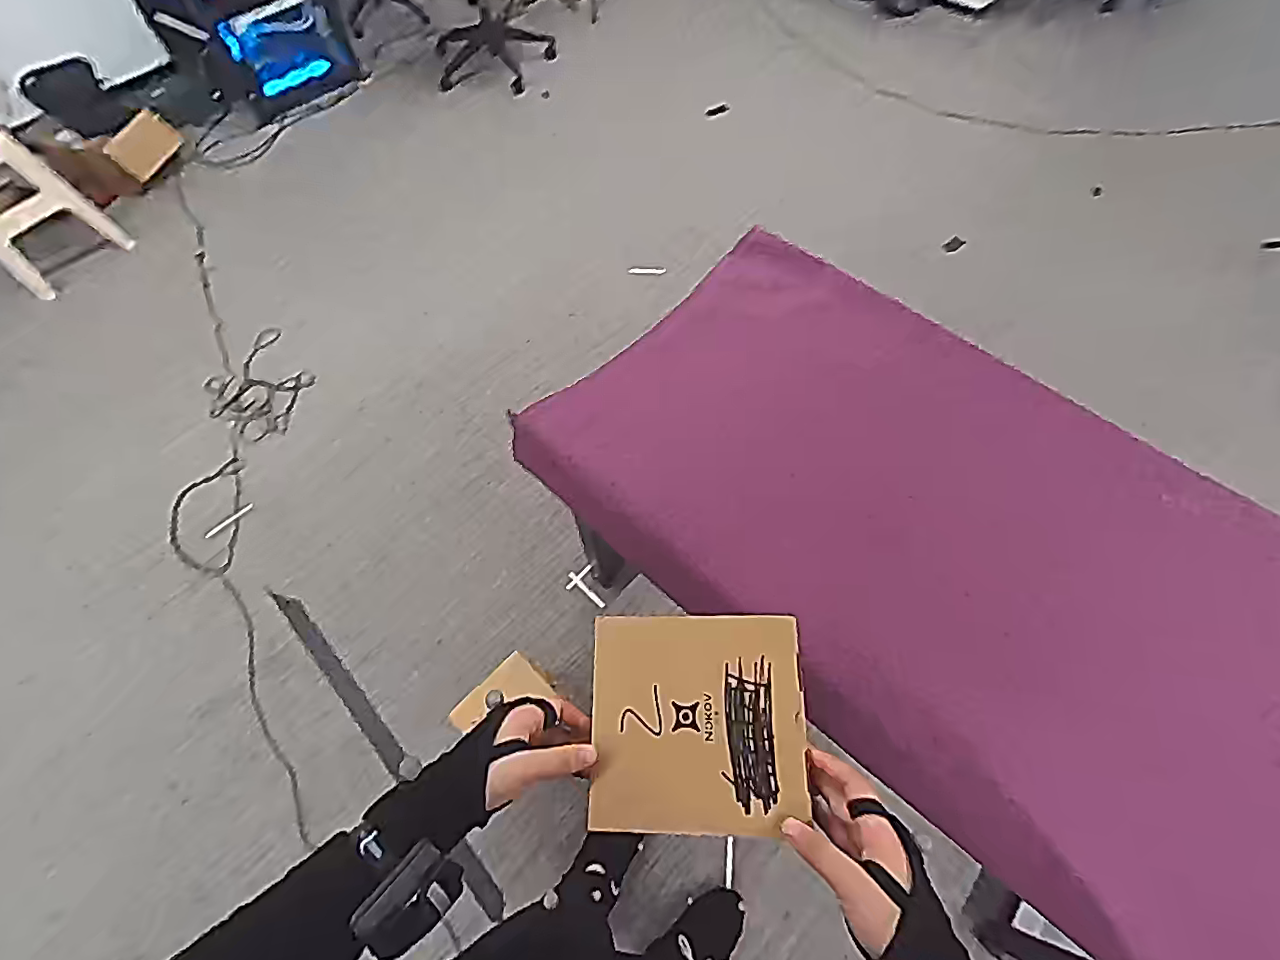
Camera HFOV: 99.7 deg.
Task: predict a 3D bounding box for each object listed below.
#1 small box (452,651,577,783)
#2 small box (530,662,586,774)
[{"bbox_3d":[-0.244,0.484,1.103,0.168,0.176,0.179,41,70,20],"label":"small box"},{"bbox_3d":[-0.244,0.556,1.252,0.179,0.176,0.168,-37,67,-17],"label":"small box"}]
